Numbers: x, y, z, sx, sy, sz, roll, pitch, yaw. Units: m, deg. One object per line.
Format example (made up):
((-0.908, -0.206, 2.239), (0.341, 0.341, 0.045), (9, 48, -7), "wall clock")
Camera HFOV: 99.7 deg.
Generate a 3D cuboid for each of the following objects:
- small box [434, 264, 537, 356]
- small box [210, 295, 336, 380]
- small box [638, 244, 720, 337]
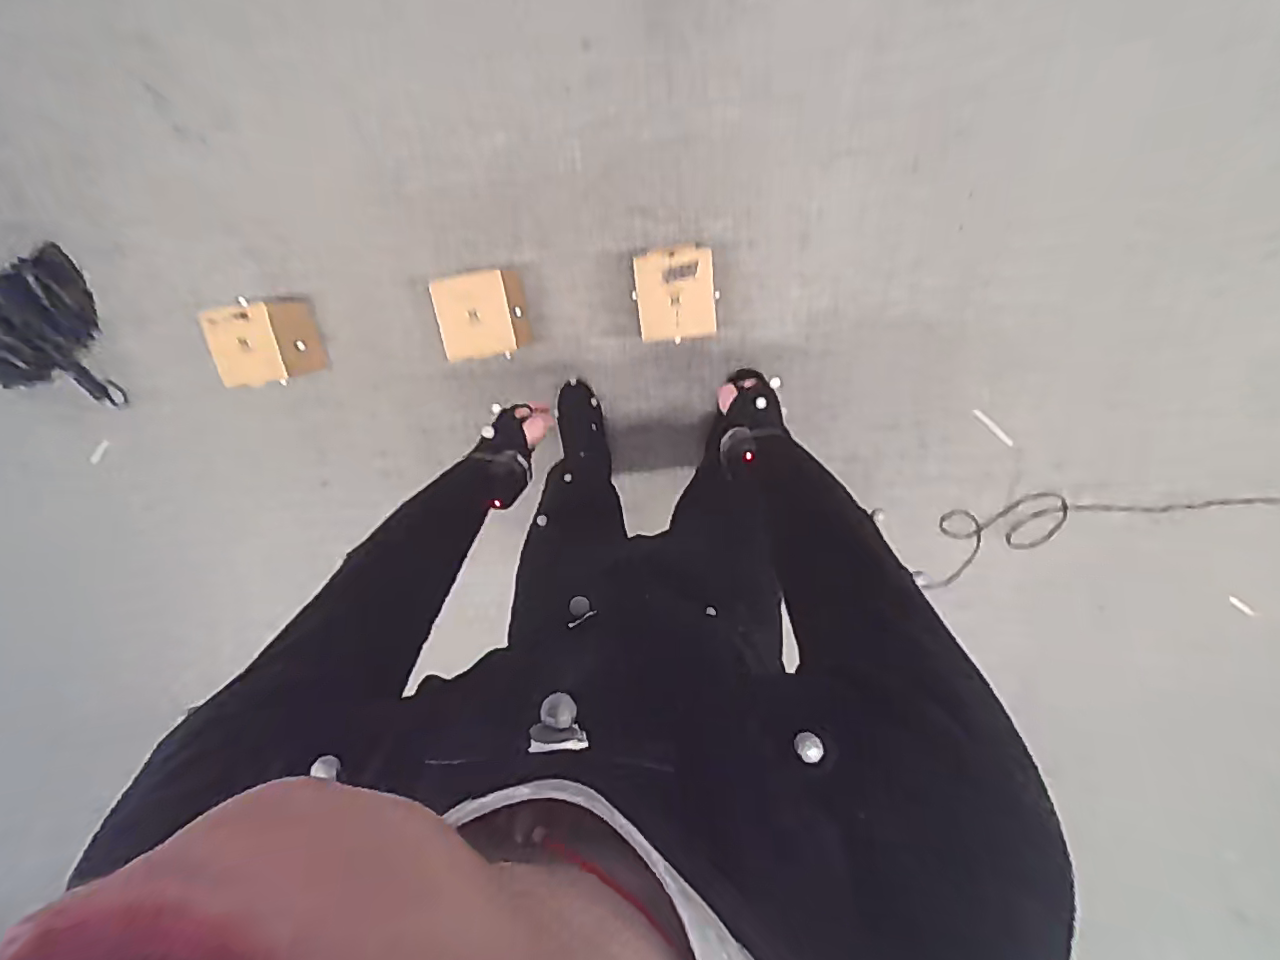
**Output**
((-0.352, -0.399, 1.270), (0.168, 0.176, 0.179), (-7, 107, 6), "small box")
((-0.889, -0.355, 1.330), (0.168, 0.176, 0.179), (-6, 109, 6), "small box")
((0.091, -0.423, 1.218), (0.168, 0.176, 0.179), (-4, 109, 8), "small box")
